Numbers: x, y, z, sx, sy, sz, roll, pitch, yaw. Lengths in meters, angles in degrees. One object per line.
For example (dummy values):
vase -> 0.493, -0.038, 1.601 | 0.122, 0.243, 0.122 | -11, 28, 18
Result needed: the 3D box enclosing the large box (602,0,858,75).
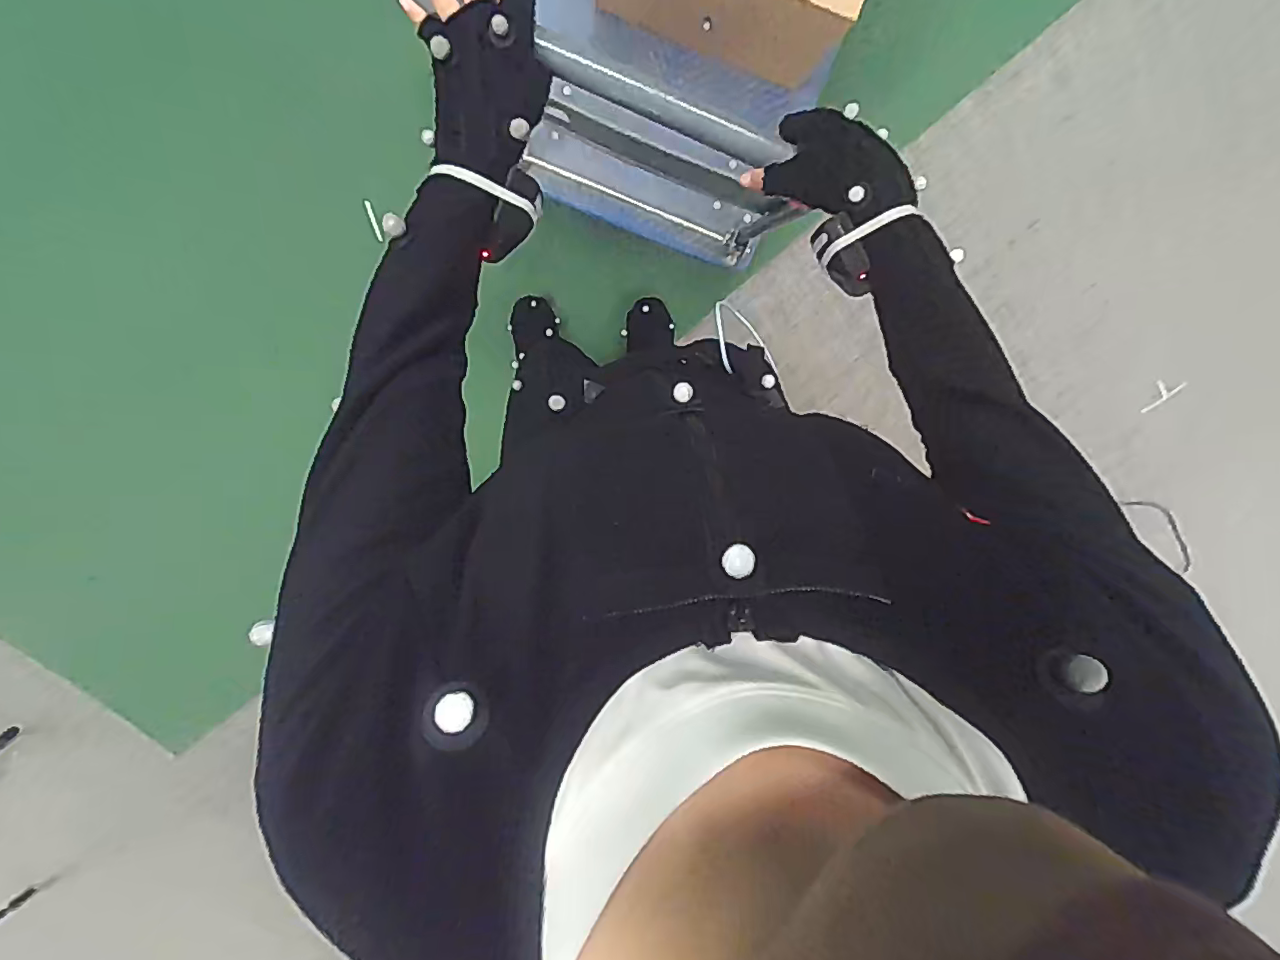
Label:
large box -> 0.161, -0.917, 0.846 | 0.408, 0.320, 0.320 | 16, 109, -7
